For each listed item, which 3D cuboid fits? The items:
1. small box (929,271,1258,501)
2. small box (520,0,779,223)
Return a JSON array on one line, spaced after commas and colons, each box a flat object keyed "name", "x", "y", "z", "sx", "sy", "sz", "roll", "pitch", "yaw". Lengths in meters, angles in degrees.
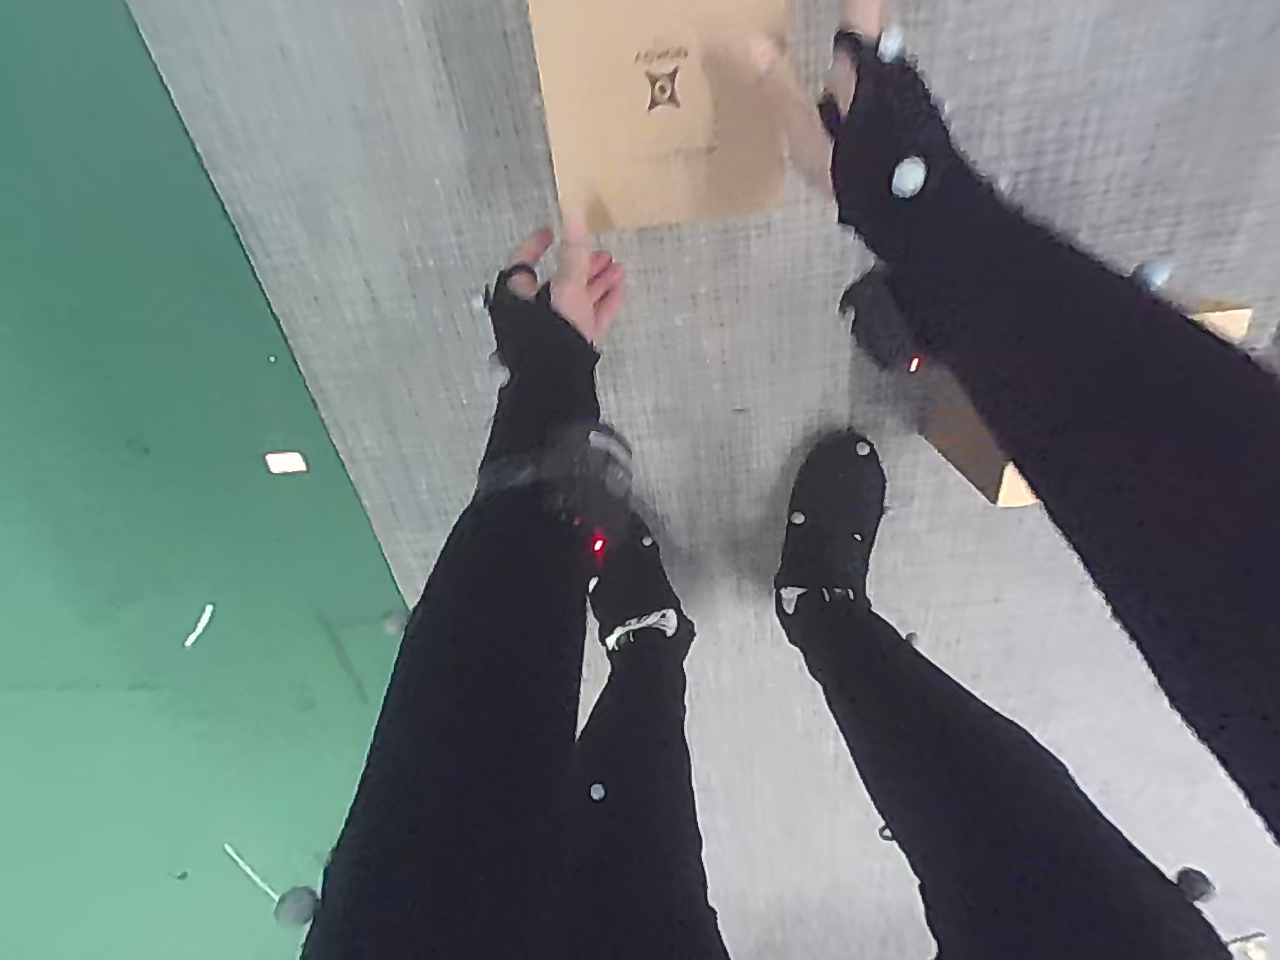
[{"name": "small box", "x": 0.410, "y": -0.101, "z": 0.533, "sx": 0.168, "sy": 0.176, "sz": 0.179, "roll": -6, "pitch": 119, "yaw": 5}, {"name": "small box", "x": 0.010, "y": -0.311, "z": 0.425, "sx": 0.168, "sy": 0.176, "sz": 0.179, "roll": -4, "pitch": 120, "yaw": 5}]
